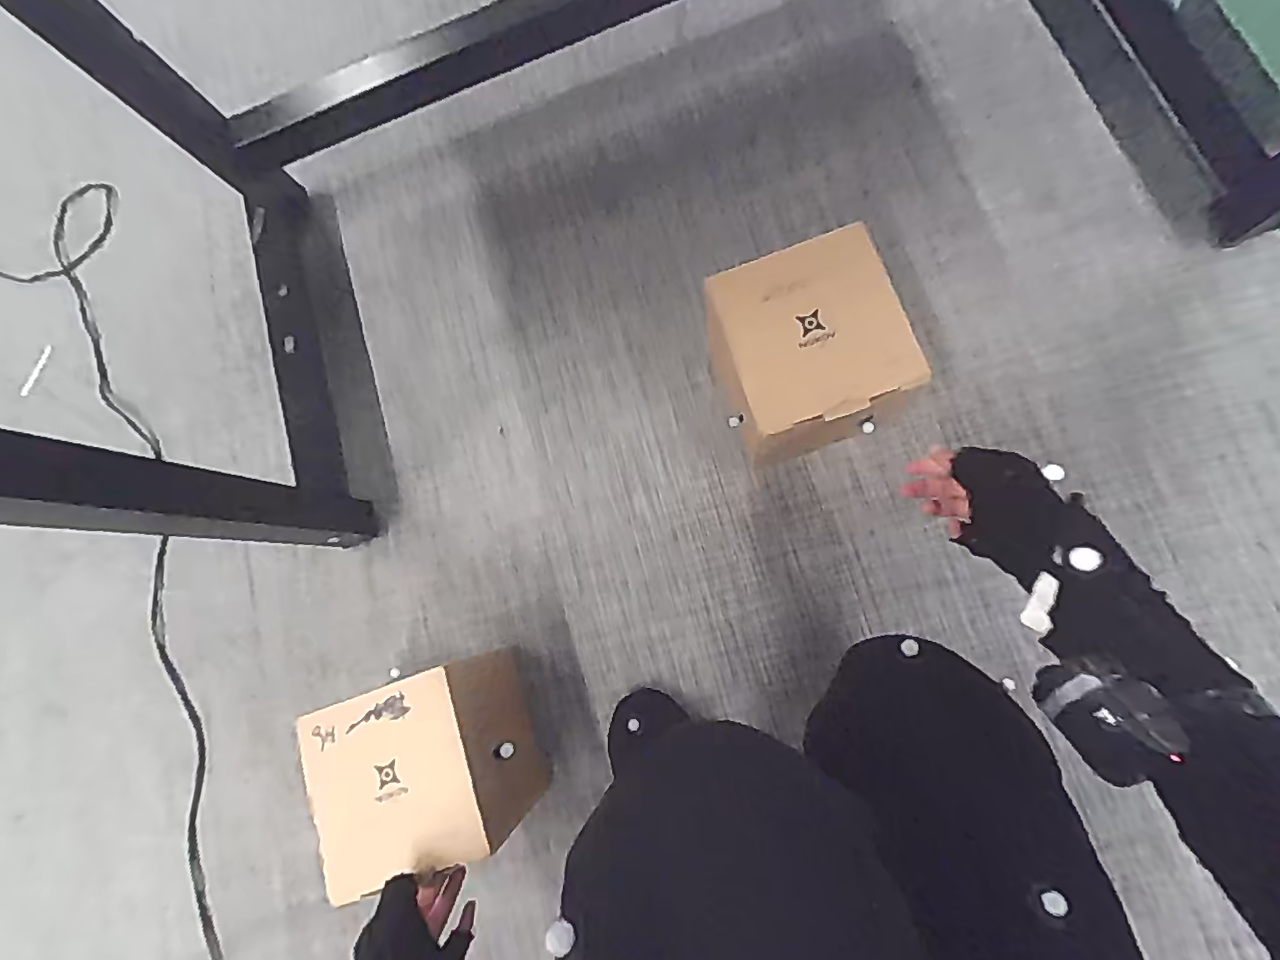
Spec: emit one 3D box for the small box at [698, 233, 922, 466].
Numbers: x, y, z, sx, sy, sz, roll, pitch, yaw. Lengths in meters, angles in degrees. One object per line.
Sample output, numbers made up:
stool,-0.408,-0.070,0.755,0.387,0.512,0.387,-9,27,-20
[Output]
small box,0.173,-0.125,0.599,0.168,0.176,0.179,-19,76,5
